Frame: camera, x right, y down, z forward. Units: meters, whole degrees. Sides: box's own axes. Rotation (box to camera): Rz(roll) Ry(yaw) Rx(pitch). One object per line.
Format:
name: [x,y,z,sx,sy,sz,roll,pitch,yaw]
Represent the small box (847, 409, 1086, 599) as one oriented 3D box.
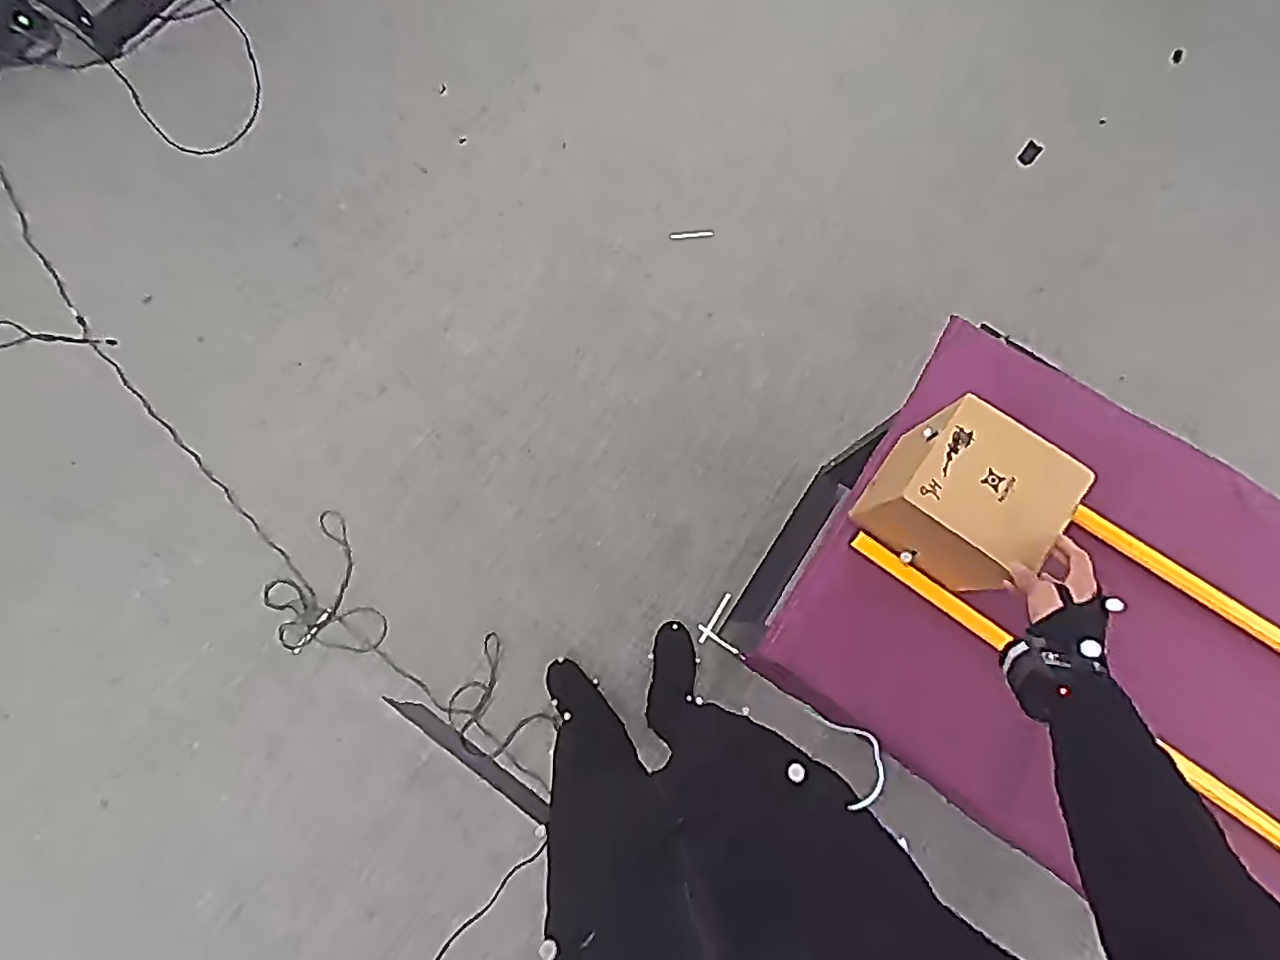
small box: [0.418,0.039,0.722,0.179,0.176,0.168,37,80,7]
